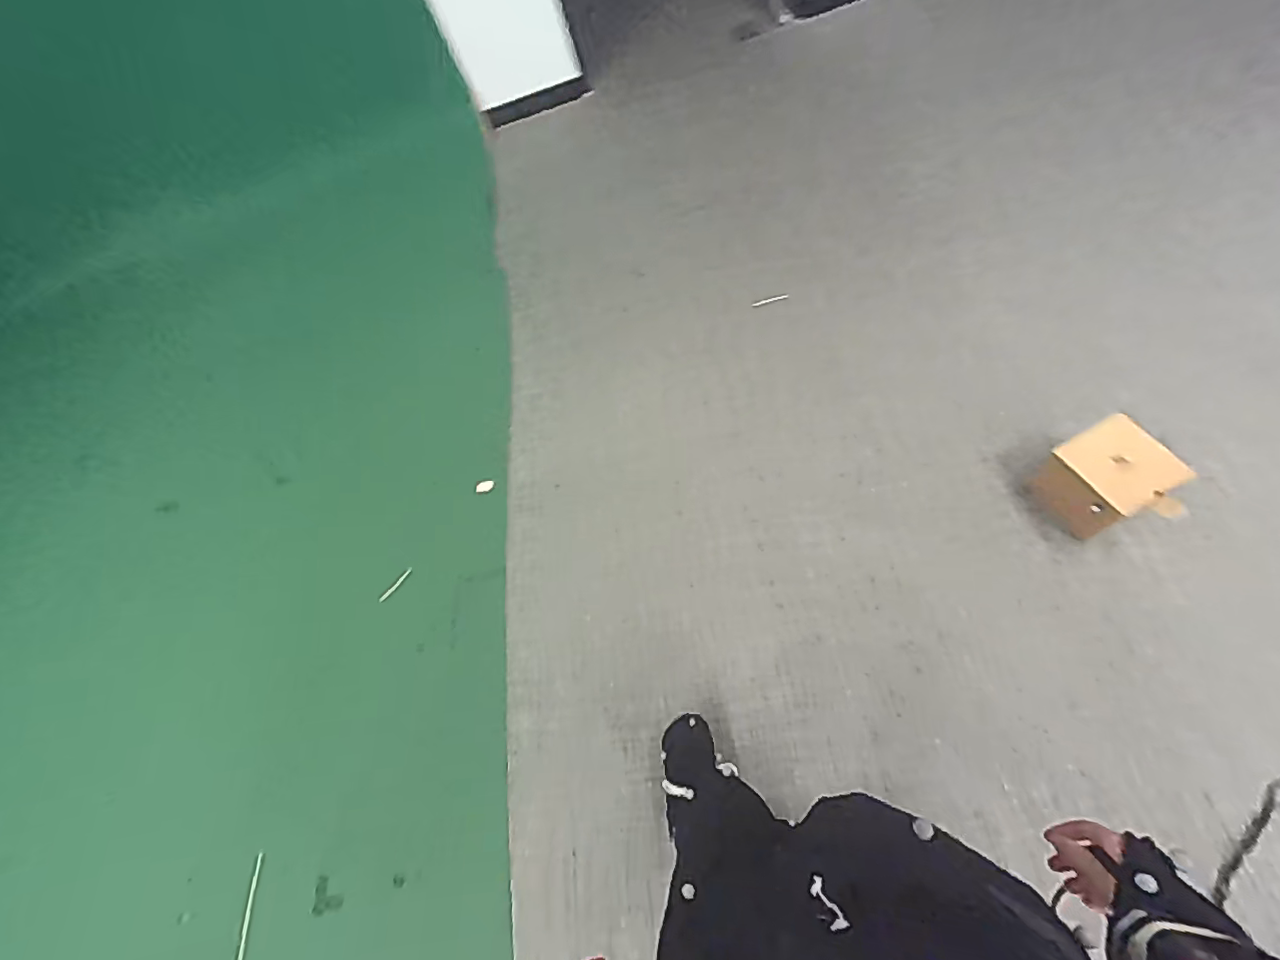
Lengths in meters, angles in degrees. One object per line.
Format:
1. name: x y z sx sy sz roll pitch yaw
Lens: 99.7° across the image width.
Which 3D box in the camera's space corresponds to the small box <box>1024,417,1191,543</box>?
1. small box: 0.976 0.006 1.152 0.168 0.176 0.179 -30 62 -1
